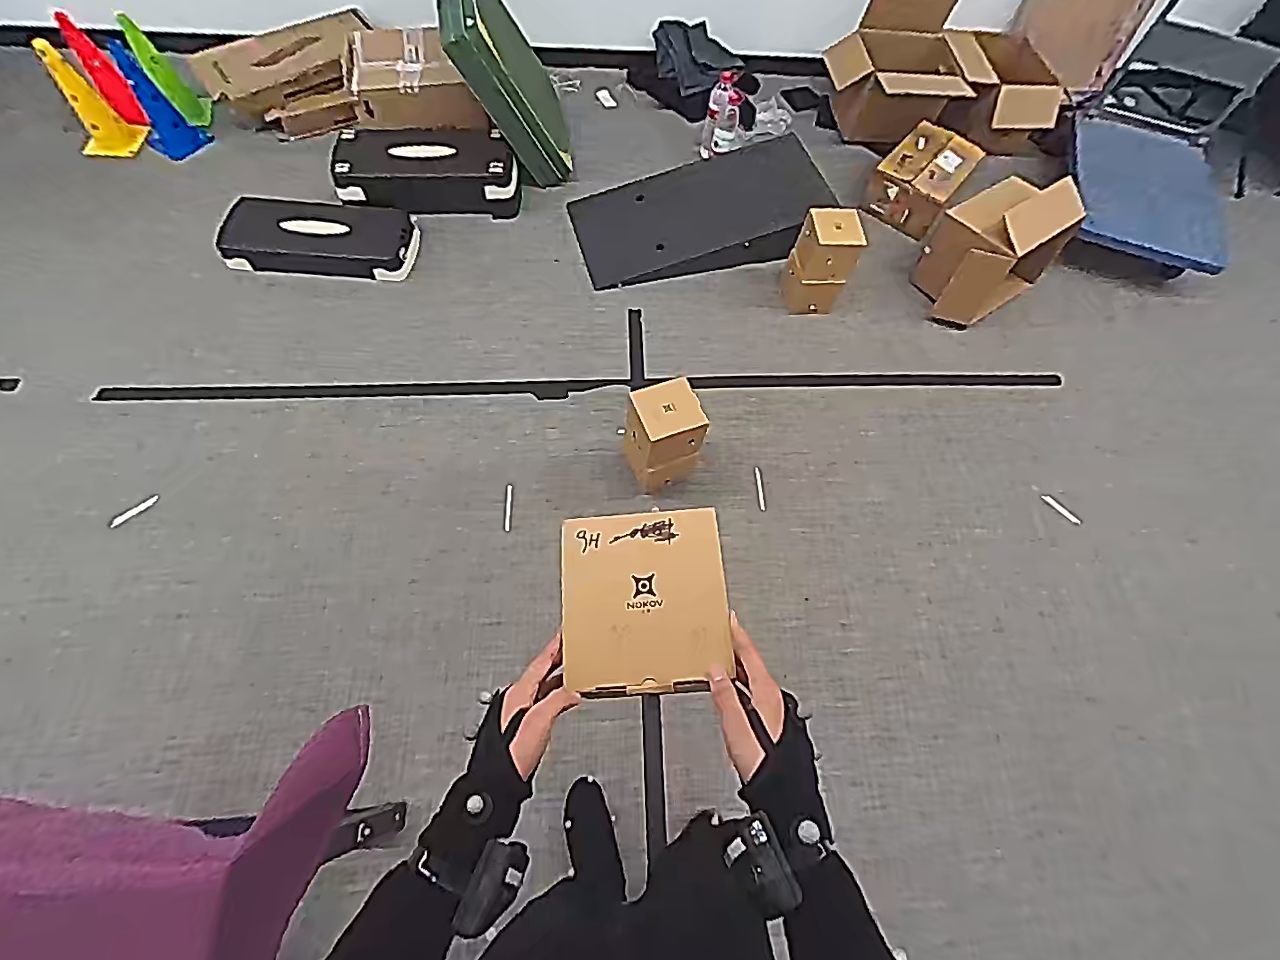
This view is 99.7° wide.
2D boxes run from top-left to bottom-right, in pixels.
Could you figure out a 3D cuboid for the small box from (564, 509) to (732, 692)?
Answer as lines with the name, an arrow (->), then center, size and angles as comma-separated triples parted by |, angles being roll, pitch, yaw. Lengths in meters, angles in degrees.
small box -> 0.010, 0.147, 0.620 | 0.168, 0.176, 0.179 | -4, 67, 2
